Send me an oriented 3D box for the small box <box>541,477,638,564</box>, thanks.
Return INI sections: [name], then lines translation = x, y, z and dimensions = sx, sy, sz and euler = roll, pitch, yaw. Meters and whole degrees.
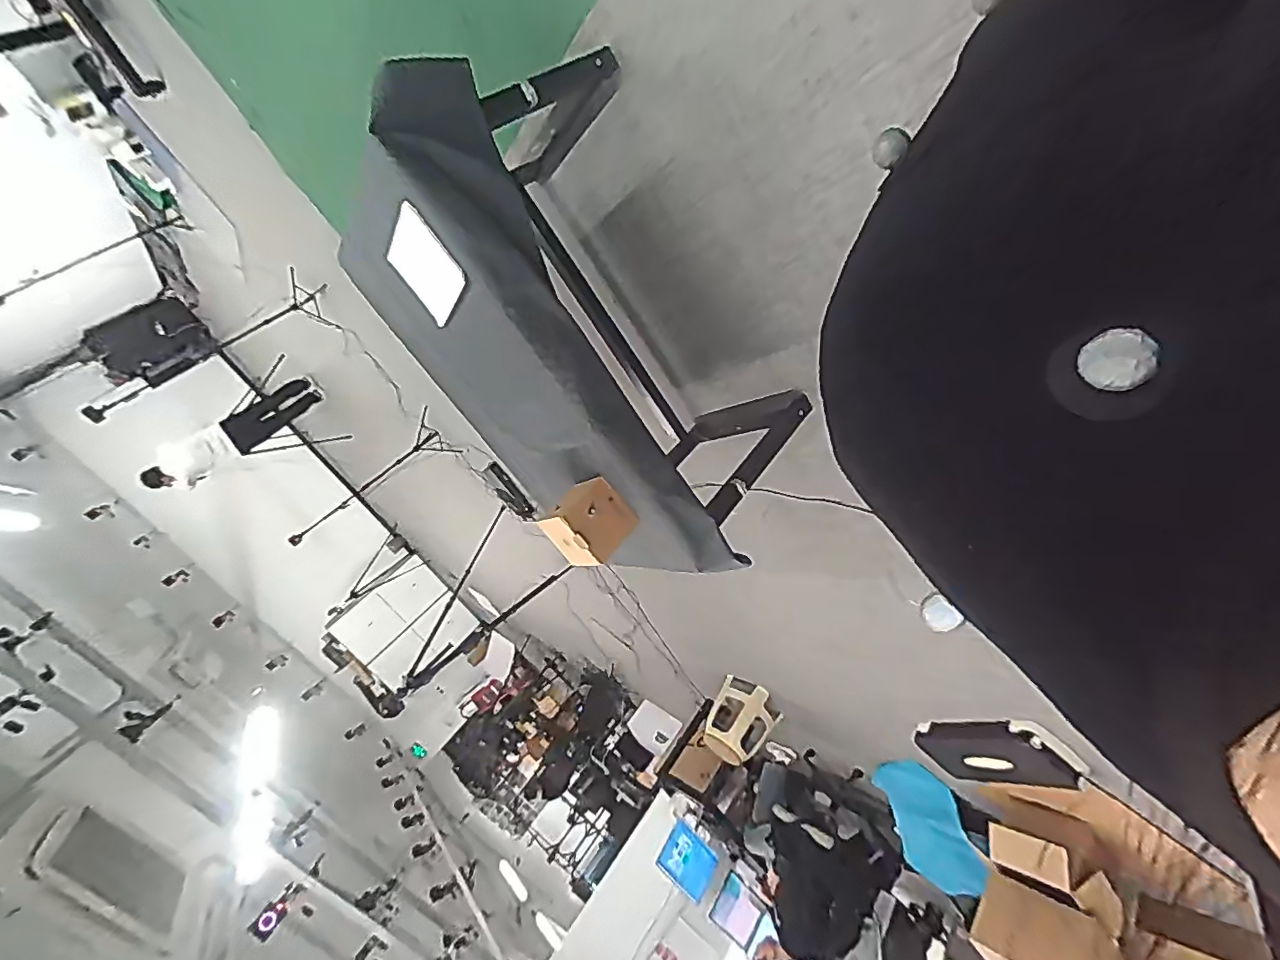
[small box]
translation = -0.129, 0.108, 1.446
dimensions = 0.168, 0.176, 0.179
euler = 52, 152, -13
